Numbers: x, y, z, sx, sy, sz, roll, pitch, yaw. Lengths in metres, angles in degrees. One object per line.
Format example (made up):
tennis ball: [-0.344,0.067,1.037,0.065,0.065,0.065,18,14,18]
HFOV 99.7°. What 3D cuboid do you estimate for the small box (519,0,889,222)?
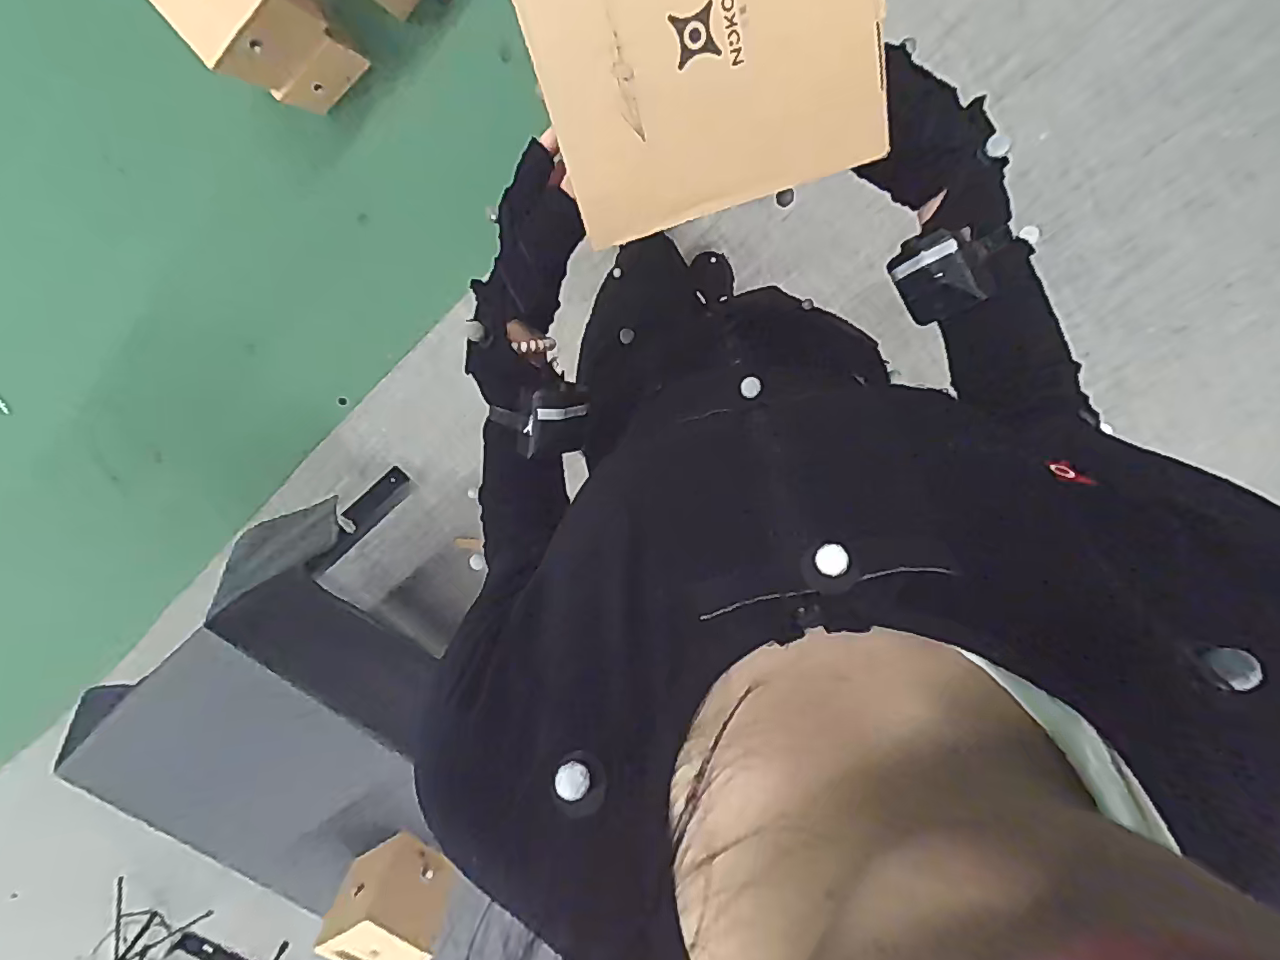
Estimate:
small box: [0.029,-0.276,0.334,0.179,0.176,0.168,-14,118,8]

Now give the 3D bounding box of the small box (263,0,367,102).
small box: [-0.697,-0.903,1.090,0.168,0.176,0.179,-32,109,16]

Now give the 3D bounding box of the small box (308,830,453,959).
small box: [-0.515,0.862,1.100,0.179,0.176,0.168,-37,109,17]

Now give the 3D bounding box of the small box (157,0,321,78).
small box: [-0.704,-0.846,0.934,0.179,0.176,0.168,-33,109,17]
